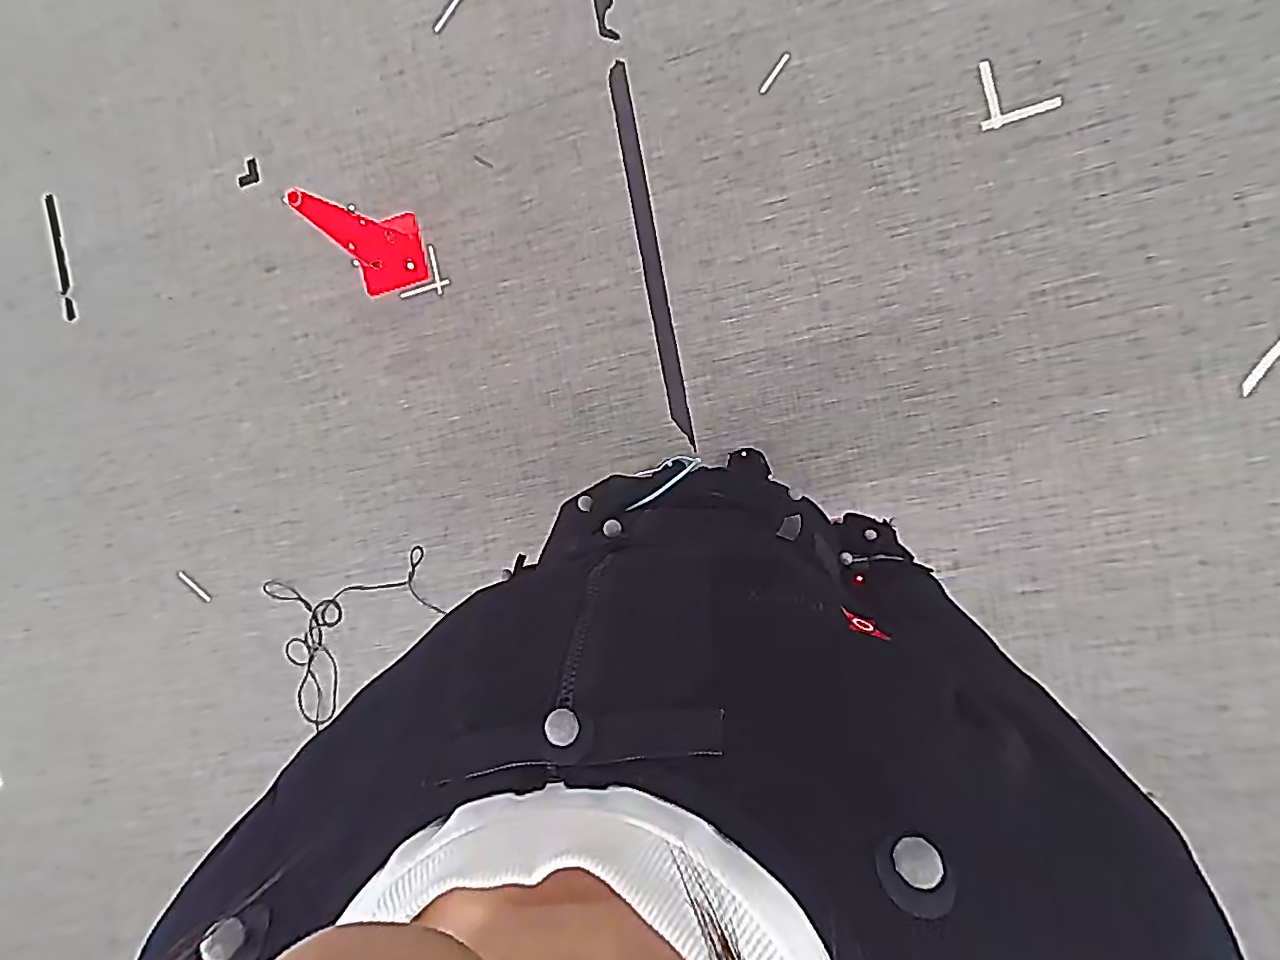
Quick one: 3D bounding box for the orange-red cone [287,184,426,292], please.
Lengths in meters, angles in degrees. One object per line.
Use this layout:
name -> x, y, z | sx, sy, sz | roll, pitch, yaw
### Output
orange-red cone -> -0.732, -0.637, 1.356 | 0.198, 0.360, 0.199 | -12, 89, 9
